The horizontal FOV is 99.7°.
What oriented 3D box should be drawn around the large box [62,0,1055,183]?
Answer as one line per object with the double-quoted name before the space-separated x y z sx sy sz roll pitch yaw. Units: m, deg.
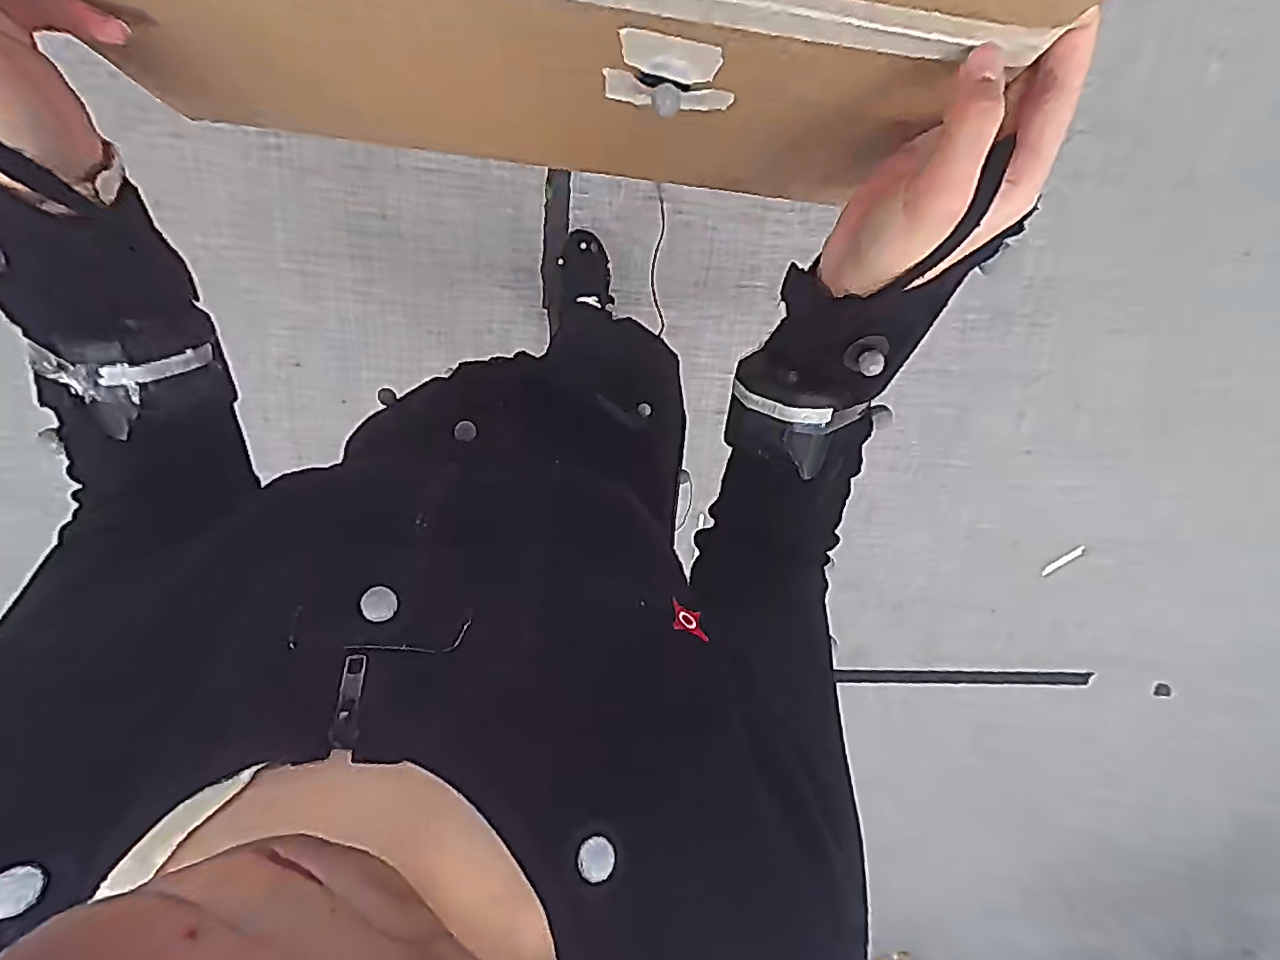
"large box" -0.037 -0.338 0.168 0.408 0.320 0.320 4 97 -5
